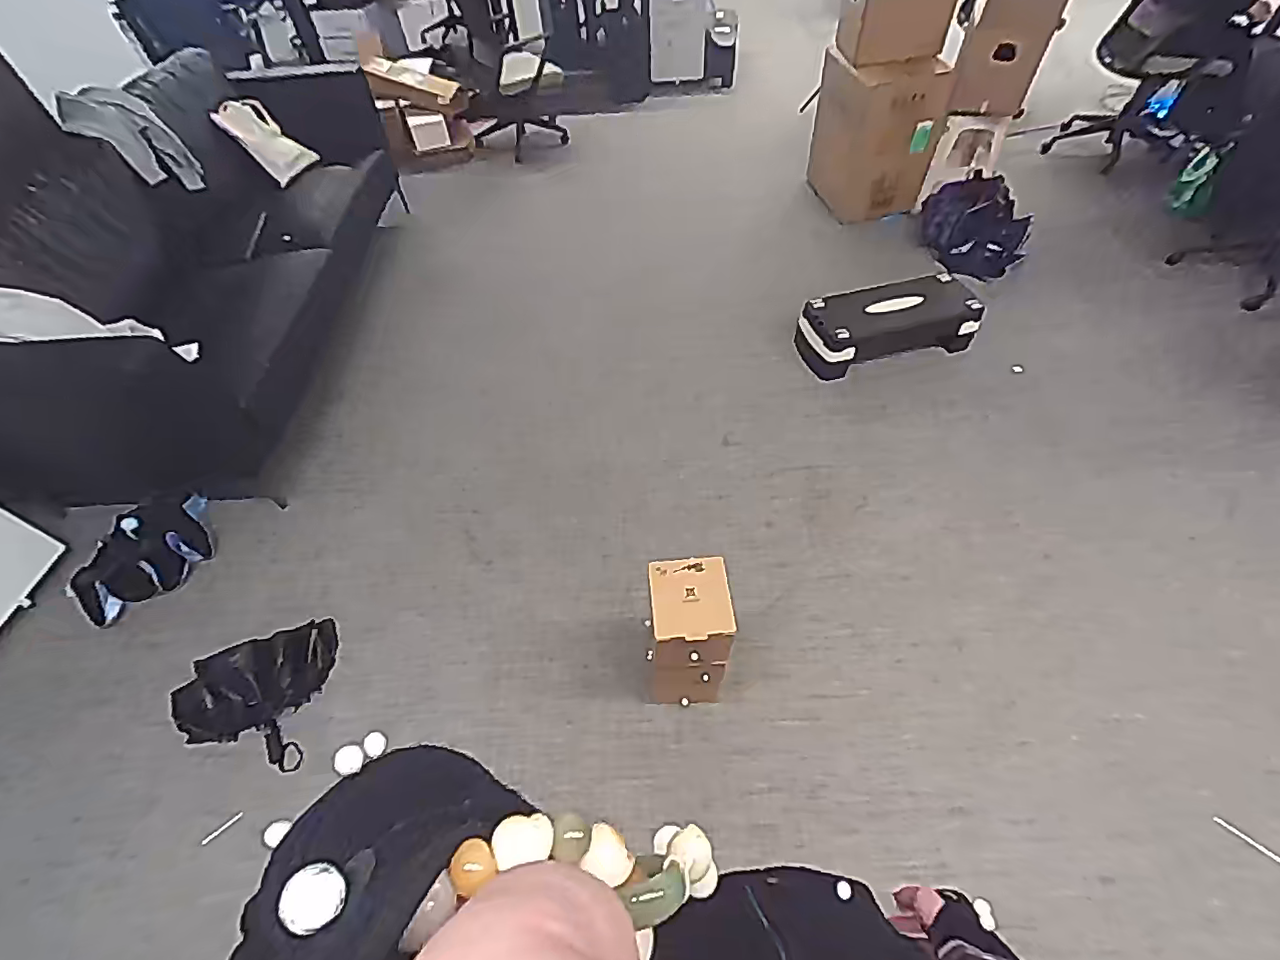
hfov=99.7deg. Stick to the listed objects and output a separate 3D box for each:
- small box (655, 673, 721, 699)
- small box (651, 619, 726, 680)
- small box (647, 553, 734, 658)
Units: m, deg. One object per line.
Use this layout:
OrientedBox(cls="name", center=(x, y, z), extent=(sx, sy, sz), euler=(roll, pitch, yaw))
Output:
OrientedBox(cls="small box", center=(0.121, 0.471, 1.440), extent=(0.168, 0.176, 0.179), euler=(-3, 54, 2))
OrientedBox(cls="small box", center=(0.113, 0.375, 1.310), extent=(0.168, 0.176, 0.179), euler=(-3, 52, 0))
OrientedBox(cls="small box", center=(0.106, 0.279, 1.178), extent=(0.168, 0.176, 0.179), euler=(-5, 55, -1))
